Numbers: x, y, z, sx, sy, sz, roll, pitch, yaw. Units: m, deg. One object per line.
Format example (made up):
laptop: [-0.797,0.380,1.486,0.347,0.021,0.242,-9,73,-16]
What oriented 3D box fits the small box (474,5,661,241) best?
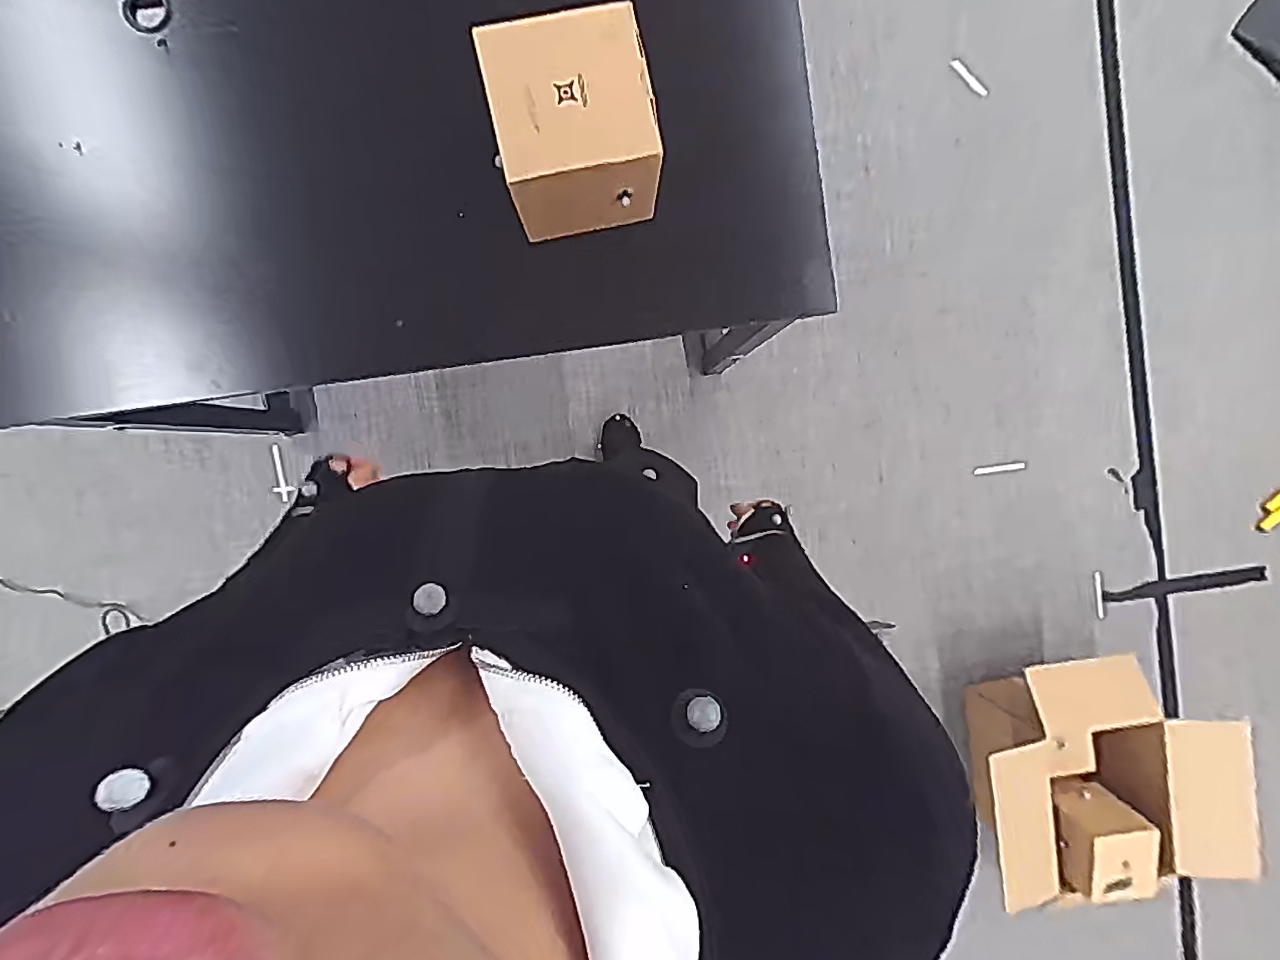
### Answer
small box: [-0.081,-0.419,0.663,0.179,0.176,0.168,-13,92,-1]
